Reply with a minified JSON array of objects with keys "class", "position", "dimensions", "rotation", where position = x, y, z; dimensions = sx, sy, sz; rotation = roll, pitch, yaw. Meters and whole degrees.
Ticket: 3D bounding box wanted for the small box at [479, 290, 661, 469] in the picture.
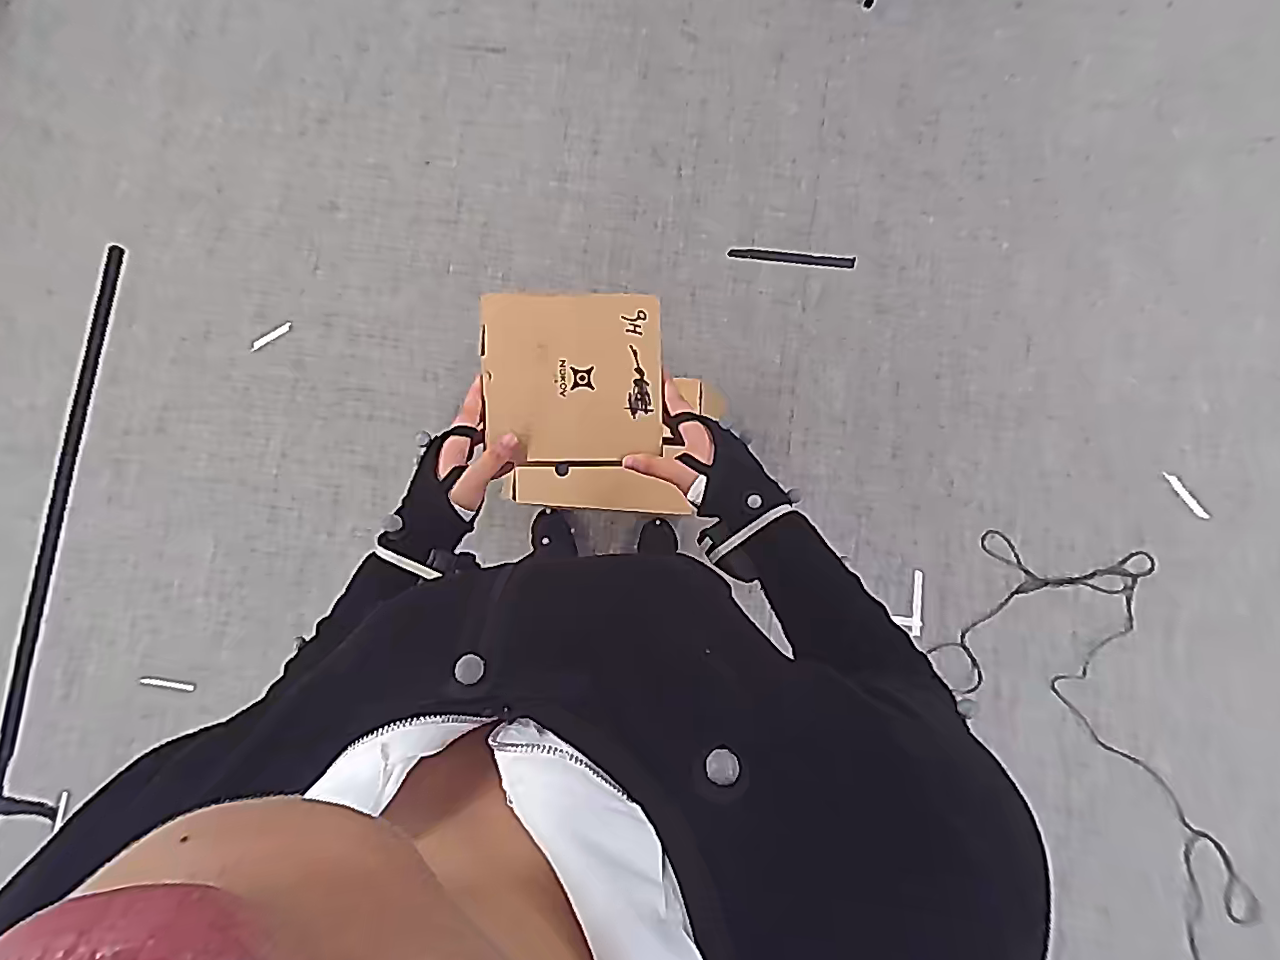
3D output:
[{"class":"small box","position":[-0.071,-0.097,0.599],"dimensions":[0.179,0.176,0.168],"rotation":[0,89,-4]}]
